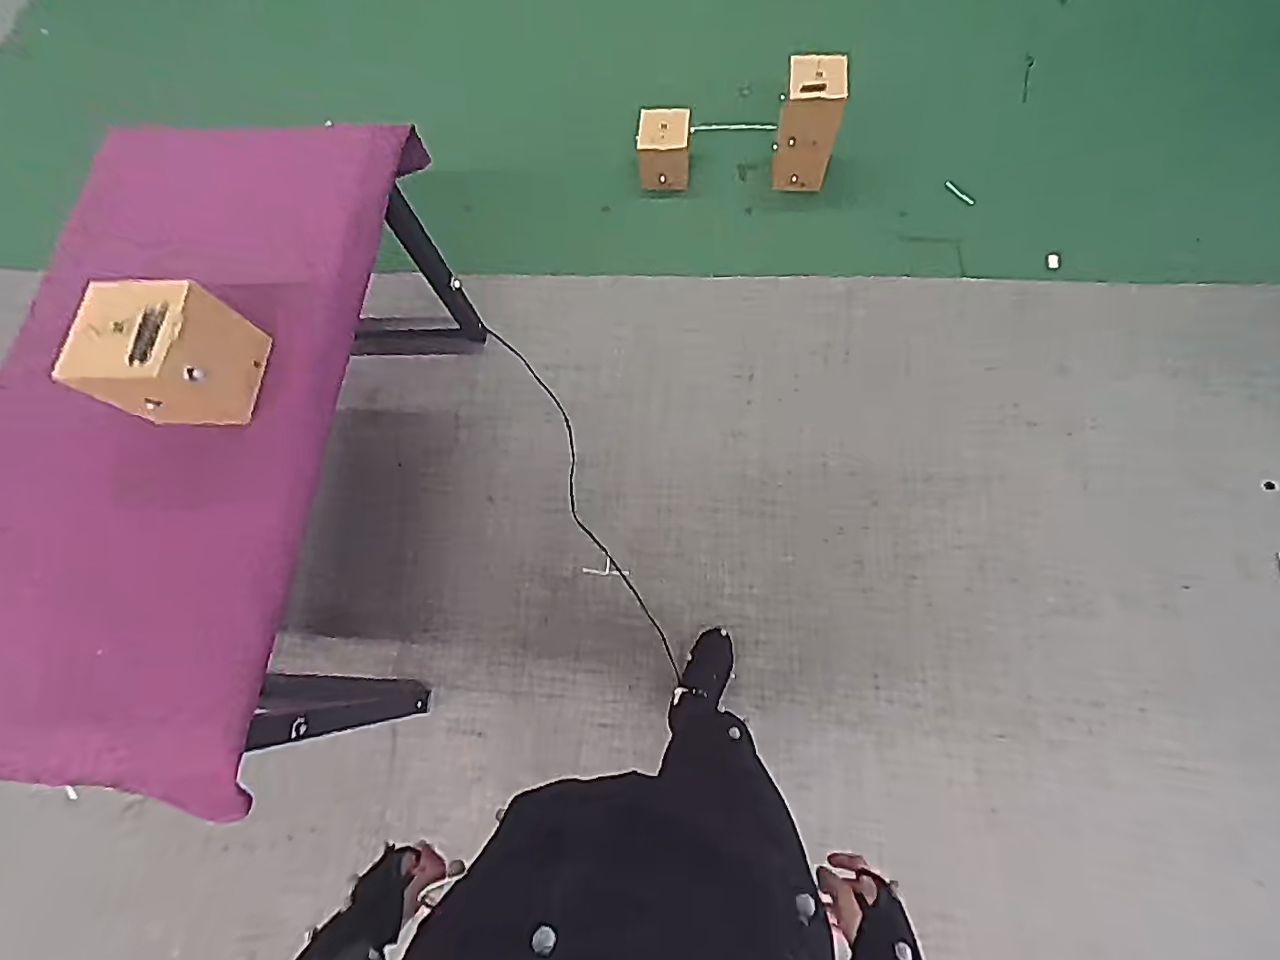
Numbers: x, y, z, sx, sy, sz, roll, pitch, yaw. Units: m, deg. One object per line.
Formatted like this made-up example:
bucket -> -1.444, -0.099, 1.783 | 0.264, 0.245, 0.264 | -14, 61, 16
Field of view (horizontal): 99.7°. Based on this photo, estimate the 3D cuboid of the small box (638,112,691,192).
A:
small box -> 0.088, -1.132, 1.867 | 0.168, 0.176, 0.179 | 4, 72, 7

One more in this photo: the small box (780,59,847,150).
small box -> 0.530, -1.151, 1.665 | 0.168, 0.176, 0.179 | 5, 72, 6

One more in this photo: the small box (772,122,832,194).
small box -> 0.542, -1.103, 1.821 | 0.168, 0.176, 0.179 | 5, 73, 6
